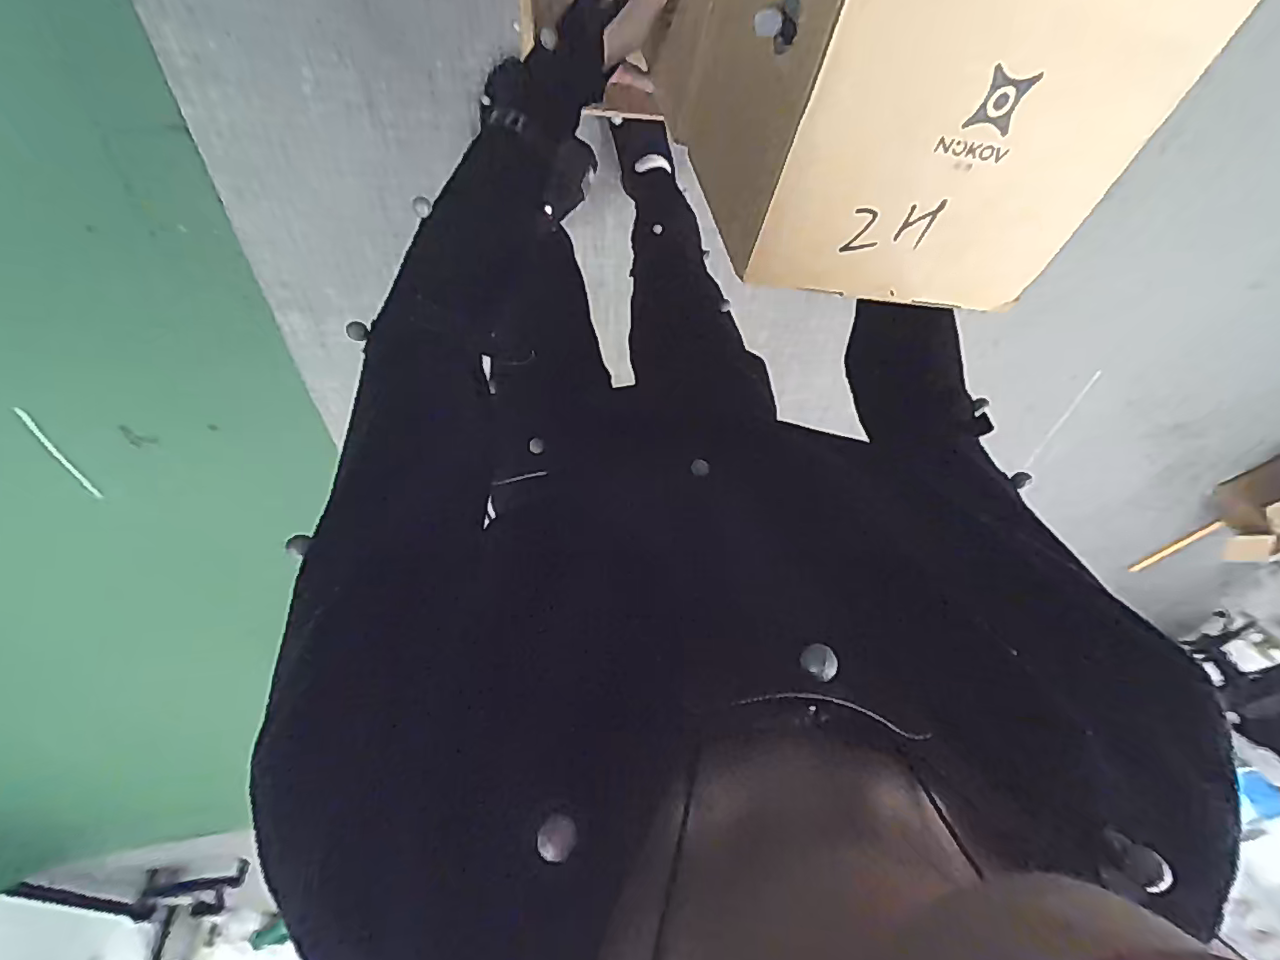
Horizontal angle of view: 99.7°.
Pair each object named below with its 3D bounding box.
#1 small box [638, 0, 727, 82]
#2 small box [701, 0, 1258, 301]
[{"bbox_3d":[0.096,-0.477,0.477,0.168,0.176,0.179,1,142,-13],"label":"small box"},{"bbox_3d":[0.139,-0.220,0.275,0.168,0.176,0.179,2,141,-12],"label":"small box"}]
